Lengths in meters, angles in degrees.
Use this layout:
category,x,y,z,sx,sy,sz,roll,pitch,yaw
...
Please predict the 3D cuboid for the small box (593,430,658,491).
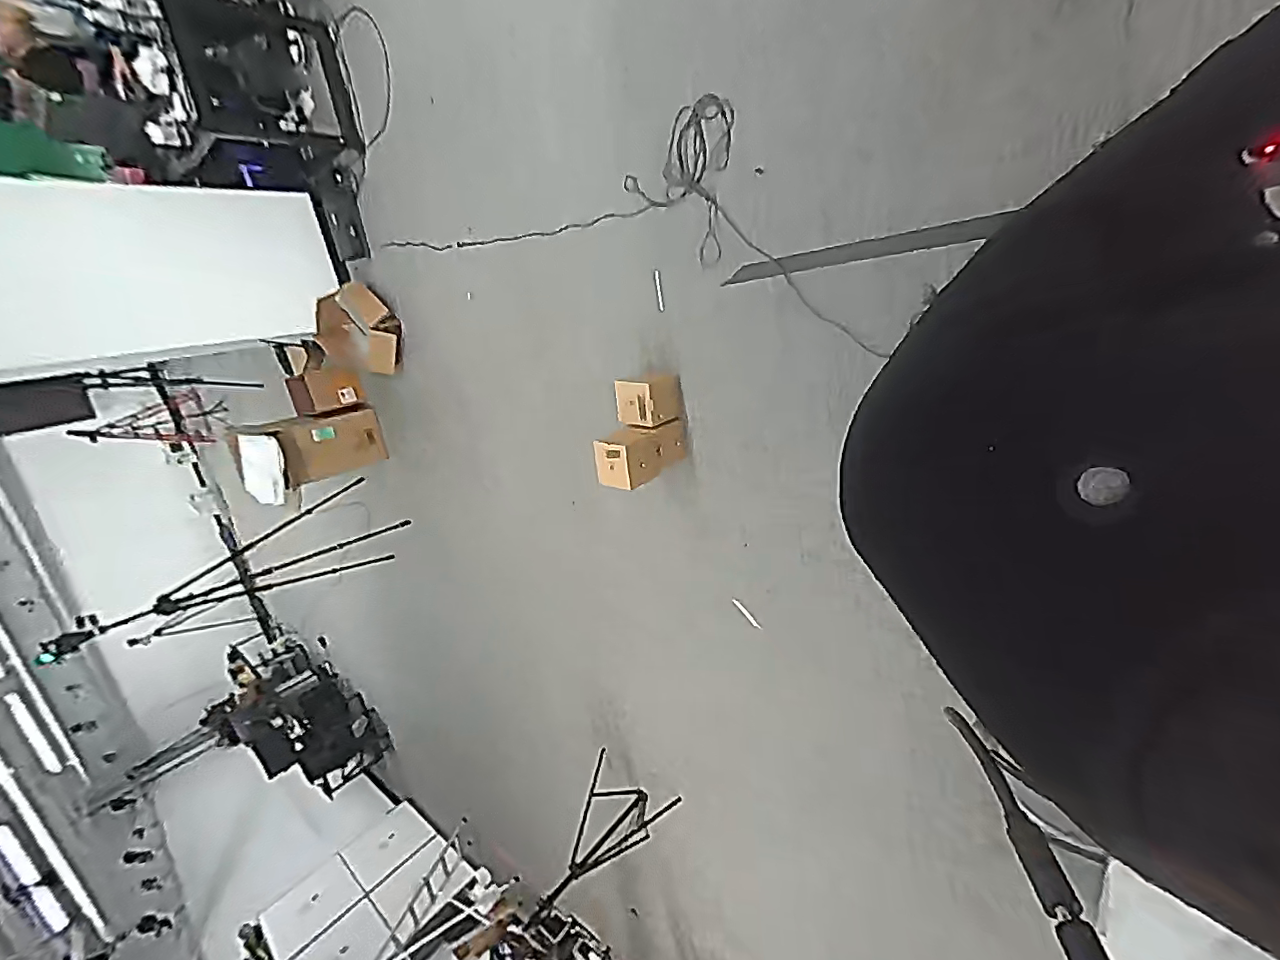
category,x,y,z,sx,sy,sz,roll,pitch,yaw
small box,-0.052,-0.080,2.019,0.168,0.176,0.179,12,119,40
